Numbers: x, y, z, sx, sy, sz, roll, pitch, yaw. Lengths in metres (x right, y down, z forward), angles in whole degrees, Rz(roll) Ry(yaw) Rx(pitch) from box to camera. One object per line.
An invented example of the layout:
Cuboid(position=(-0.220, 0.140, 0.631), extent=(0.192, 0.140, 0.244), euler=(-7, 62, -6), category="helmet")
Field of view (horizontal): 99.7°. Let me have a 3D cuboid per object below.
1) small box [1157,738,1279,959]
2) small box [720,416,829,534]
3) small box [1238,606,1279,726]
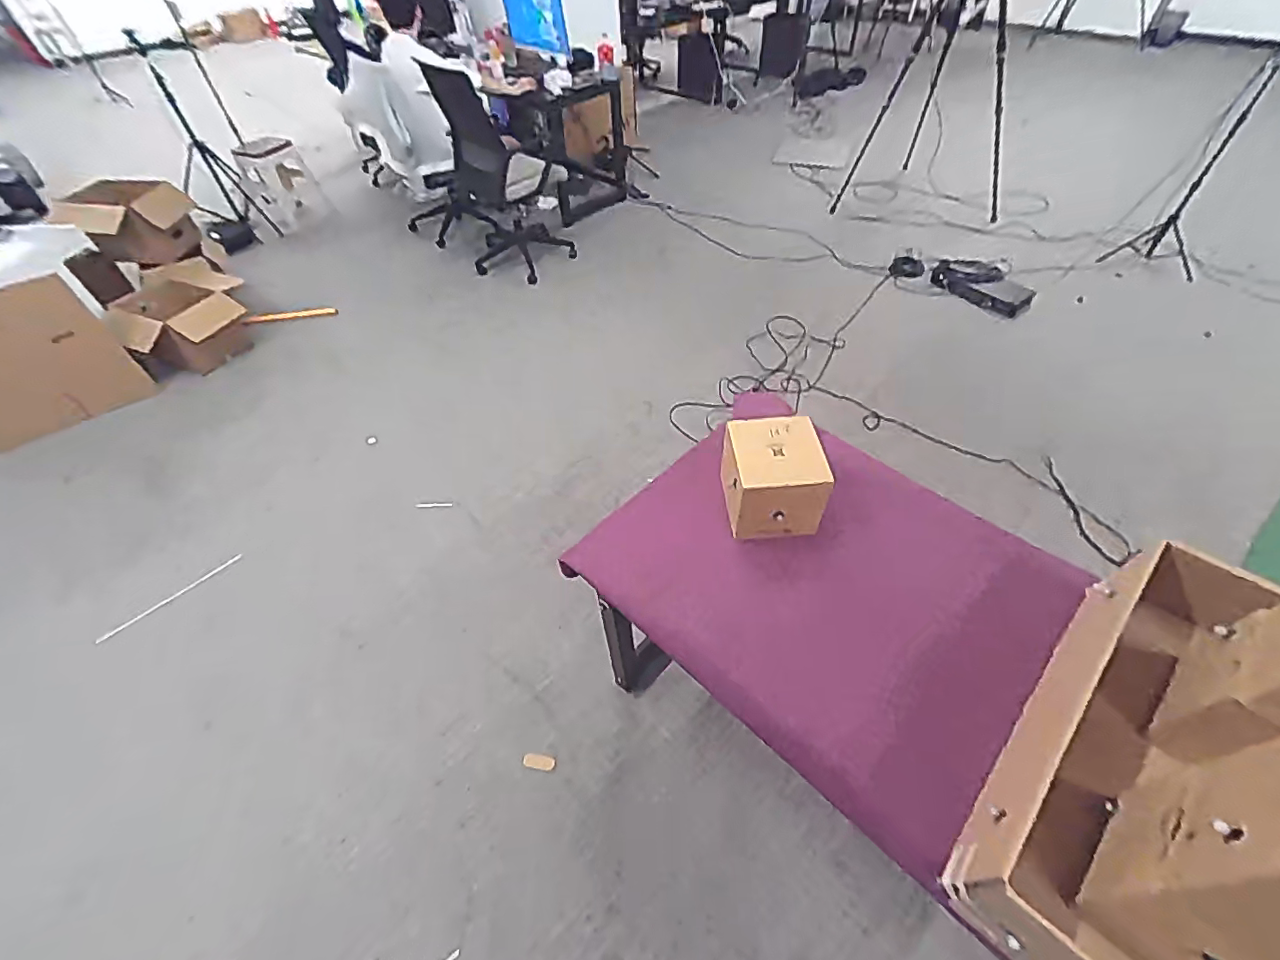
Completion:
Cuboid(position=(0.618, 0.353, 0.468), extent=(0.168, 0.176, 0.179), euler=(-36, 56, -24), category="small box")
Cuboid(position=(0.256, -0.004, 1.073), extent=(0.168, 0.176, 0.179), euler=(-3, 50, -1), category="small box")
Cuboid(position=(0.817, 0.212, 0.580), extent=(0.179, 0.176, 0.168), euler=(-37, 56, -25), category="small box")
